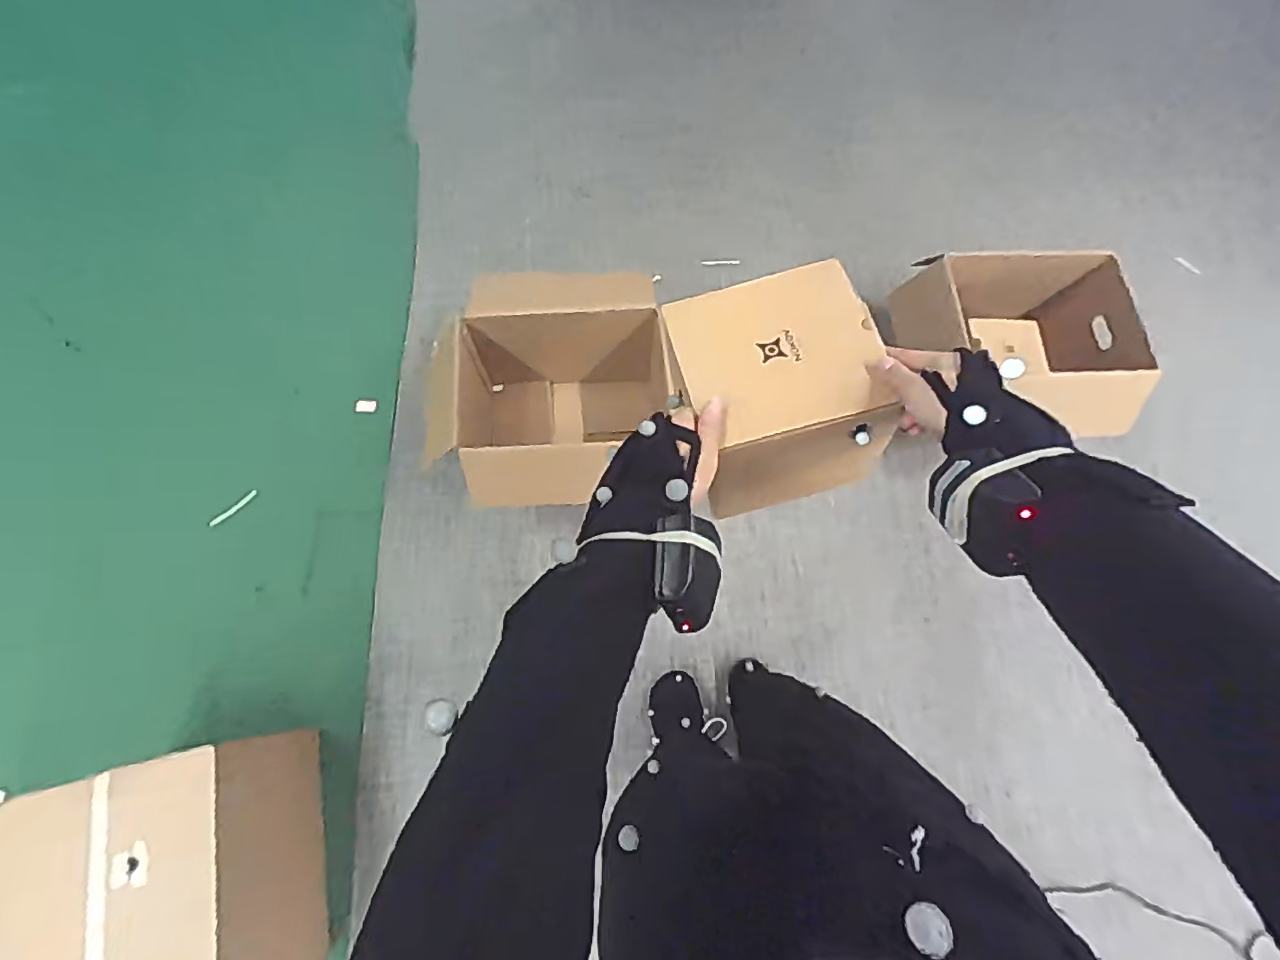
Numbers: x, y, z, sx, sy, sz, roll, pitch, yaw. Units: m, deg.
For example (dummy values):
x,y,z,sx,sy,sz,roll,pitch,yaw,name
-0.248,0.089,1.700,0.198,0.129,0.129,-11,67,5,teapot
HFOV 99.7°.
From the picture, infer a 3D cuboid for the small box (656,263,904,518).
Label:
x,y,z,sx,sy,sz,roll,pitch,yaw,name
0.126,-0.077,0.544,0.179,0.176,0.168,-14,64,1,small box
